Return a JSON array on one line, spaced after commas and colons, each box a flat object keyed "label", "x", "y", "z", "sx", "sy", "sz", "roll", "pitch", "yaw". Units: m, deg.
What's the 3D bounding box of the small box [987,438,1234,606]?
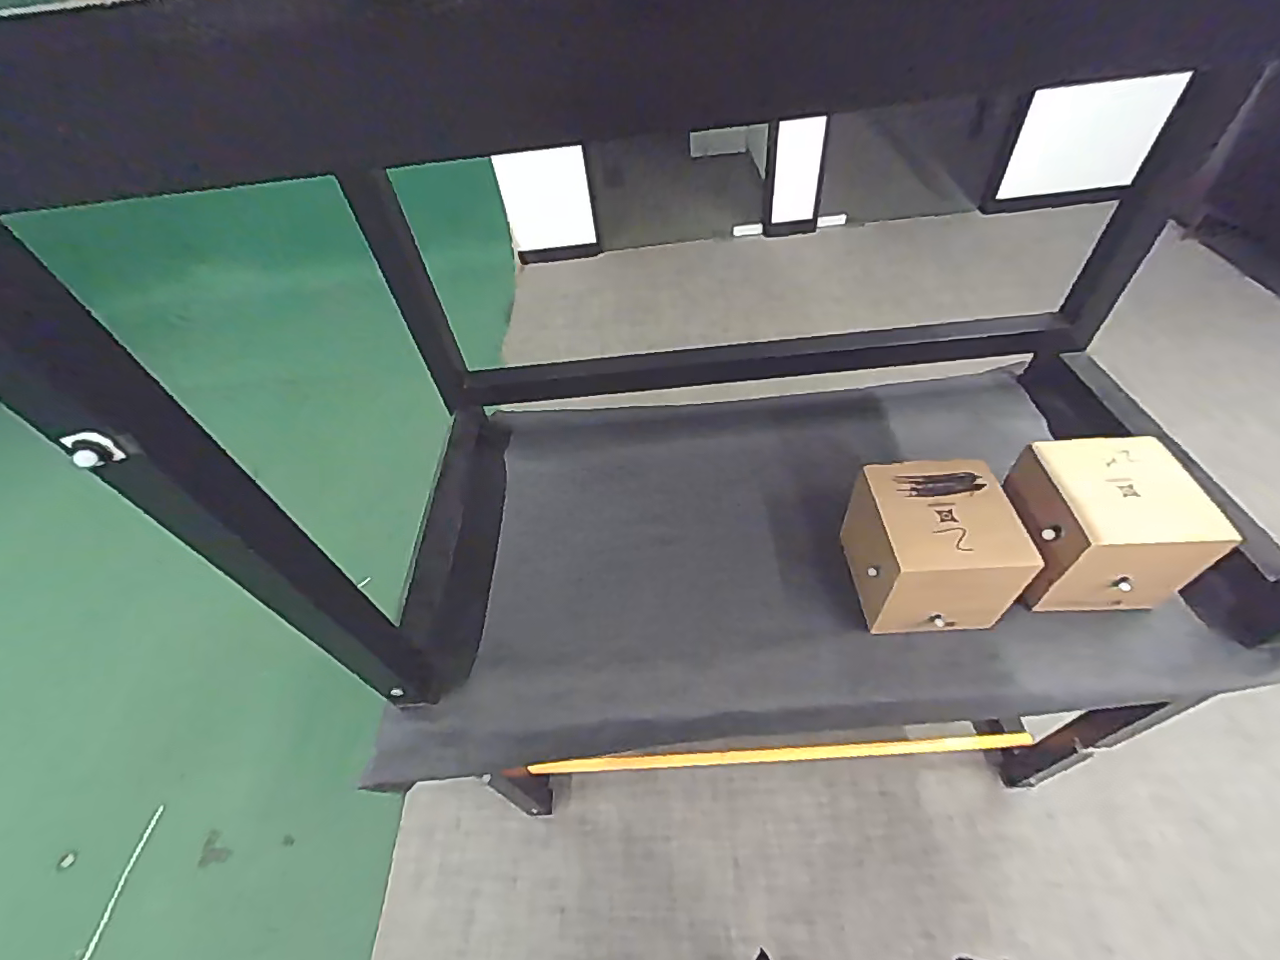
[{"label": "small box", "x": 0.625, "y": 0.064, "z": 0.751, "sx": 0.168, "sy": 0.176, "sz": 0.179, "roll": -2, "pitch": 48, "yaw": 5}]
